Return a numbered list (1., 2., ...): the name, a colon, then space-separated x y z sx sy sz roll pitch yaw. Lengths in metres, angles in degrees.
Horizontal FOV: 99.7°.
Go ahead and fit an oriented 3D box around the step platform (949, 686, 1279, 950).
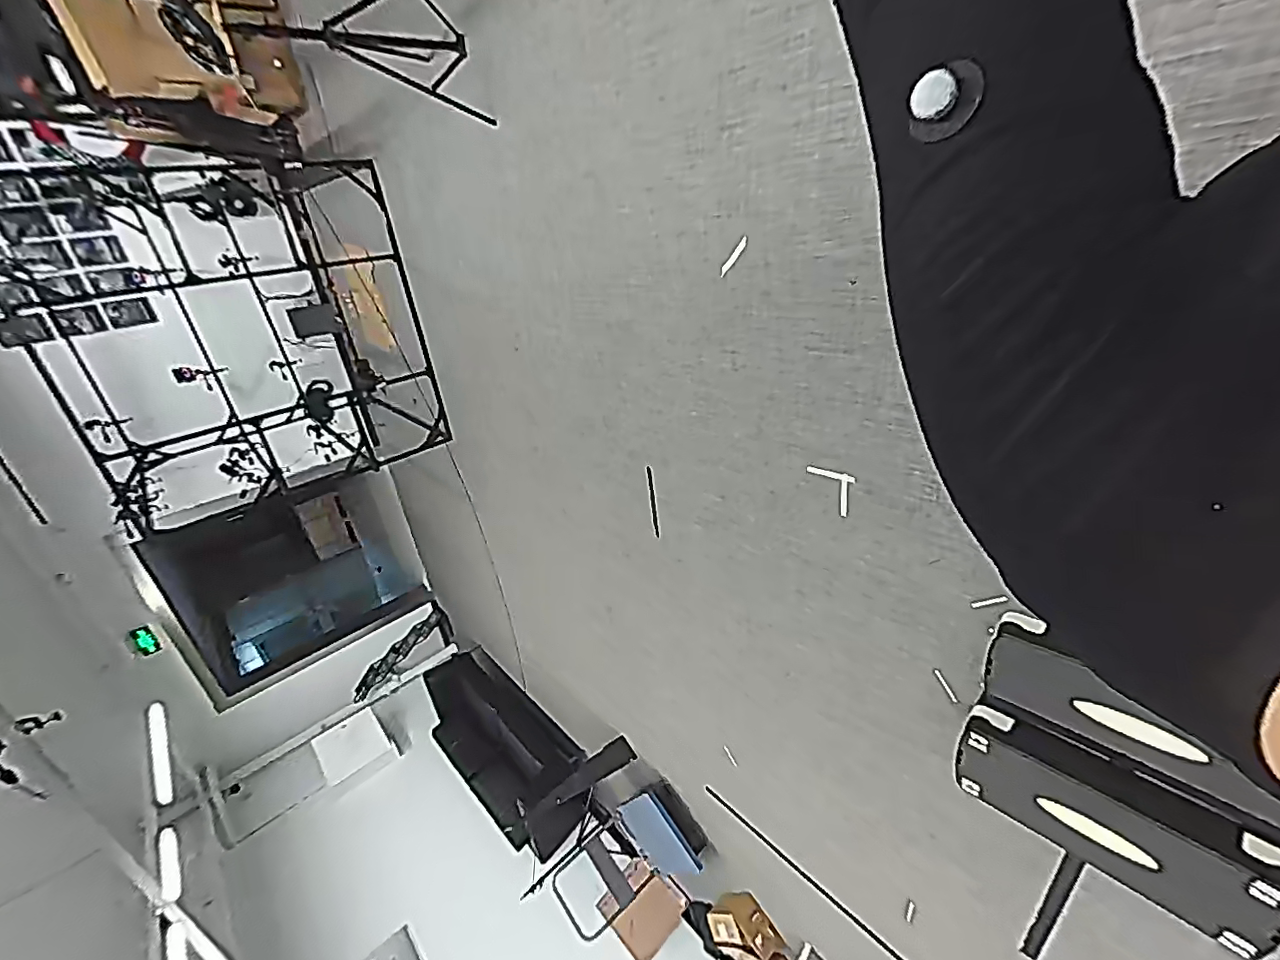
1. step platform: 1.228 0.866 1.461 0.684 0.204 0.286 20 127 47
